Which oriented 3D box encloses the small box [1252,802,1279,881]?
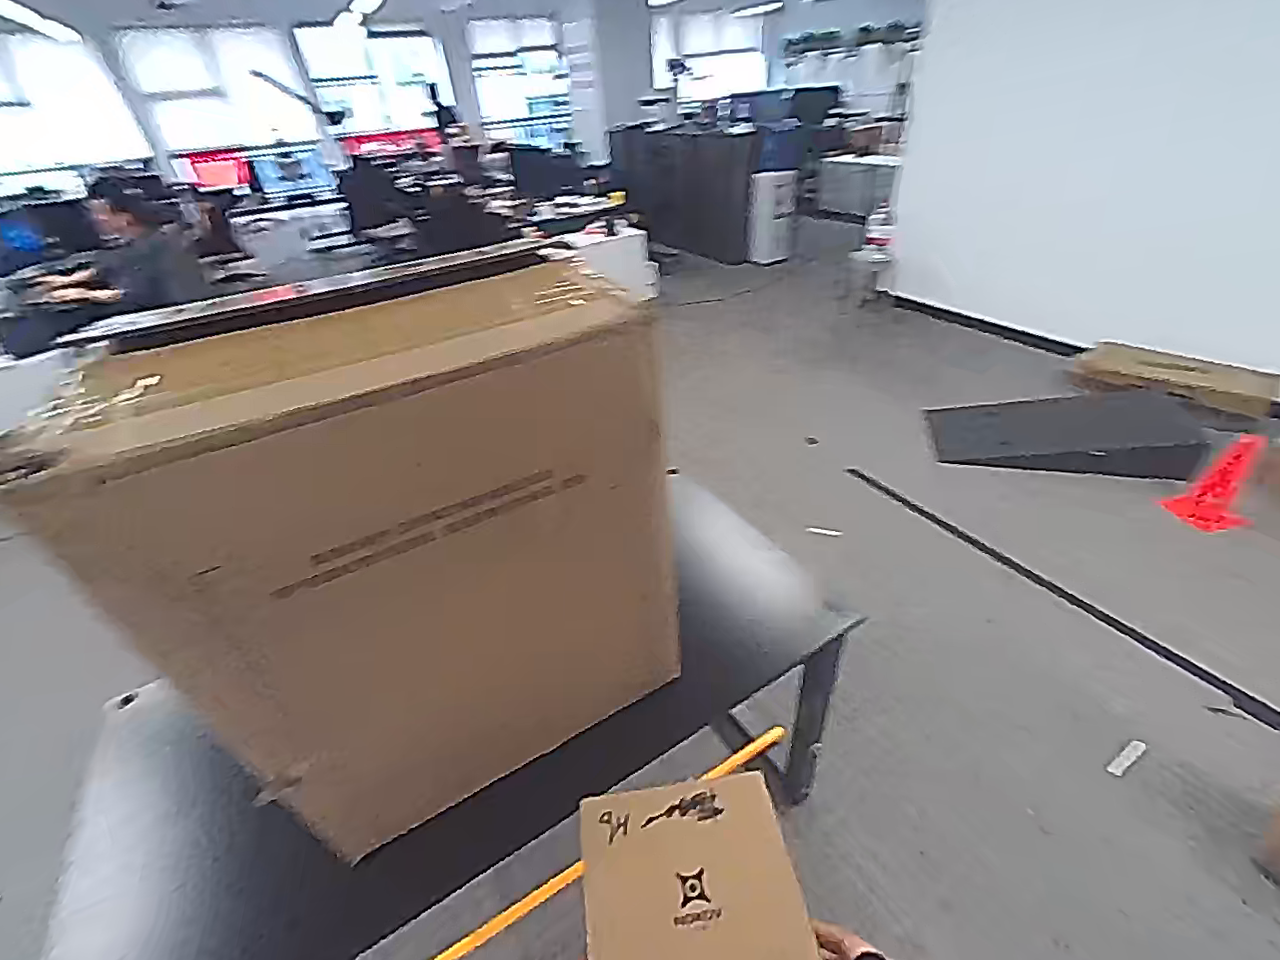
[{"bbox_3d":[1.502,0.805,1.174,0.179,0.176,0.168,-29,41,-27],"label":"small box"}]

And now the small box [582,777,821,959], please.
[{"bbox_3d":[0.043,0.385,0.451,0.168,0.176,0.179,-5,37,-6],"label":"small box"}]
